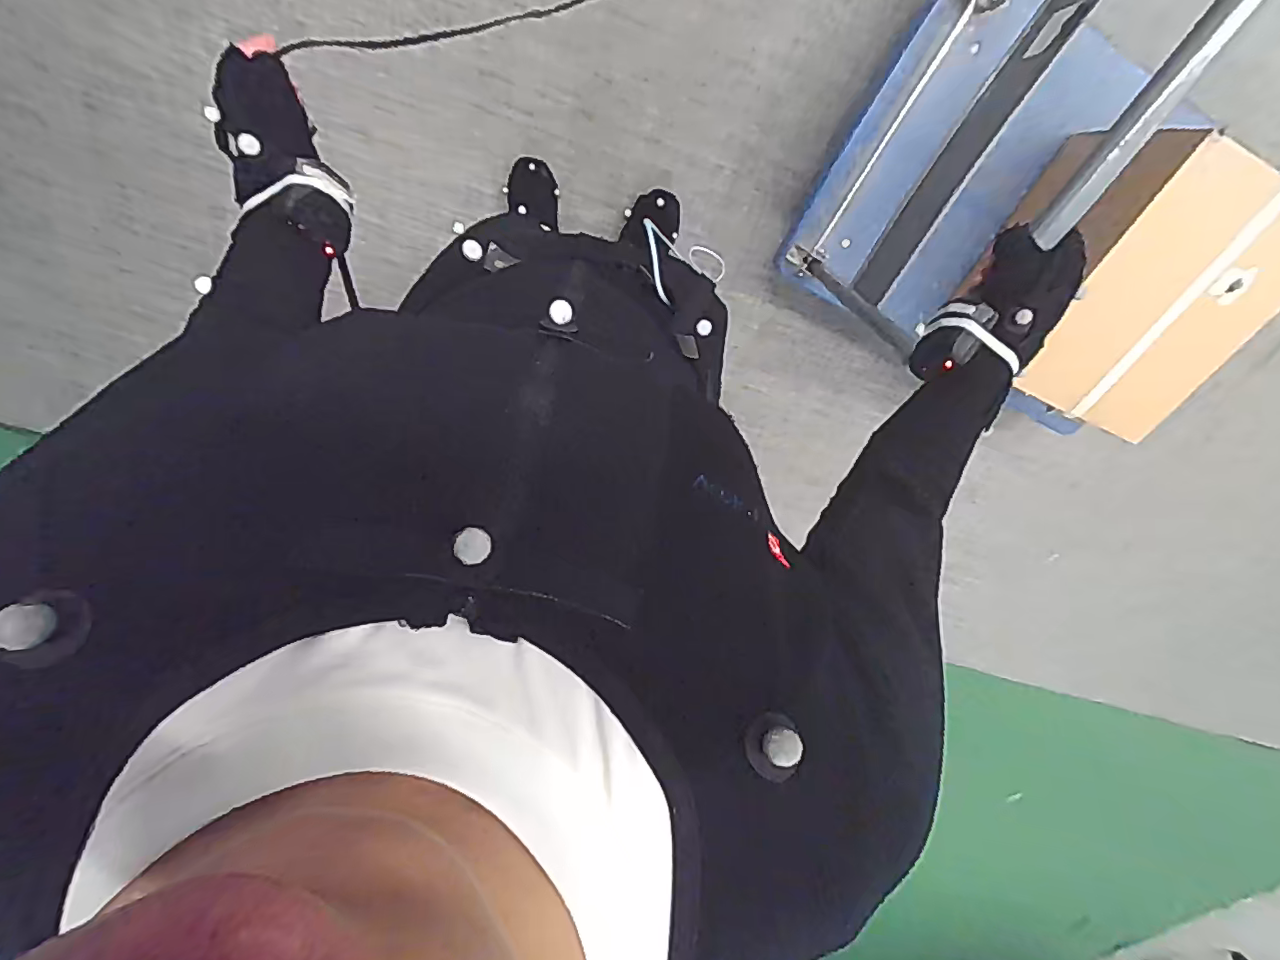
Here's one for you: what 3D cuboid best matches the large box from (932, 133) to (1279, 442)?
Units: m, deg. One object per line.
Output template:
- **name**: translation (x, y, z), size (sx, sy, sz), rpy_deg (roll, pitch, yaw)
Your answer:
- **large box**: translation (0.843, -0.350, 0.997), size (0.320, 0.320, 0.408), rpy_deg (21, 120, -11)
